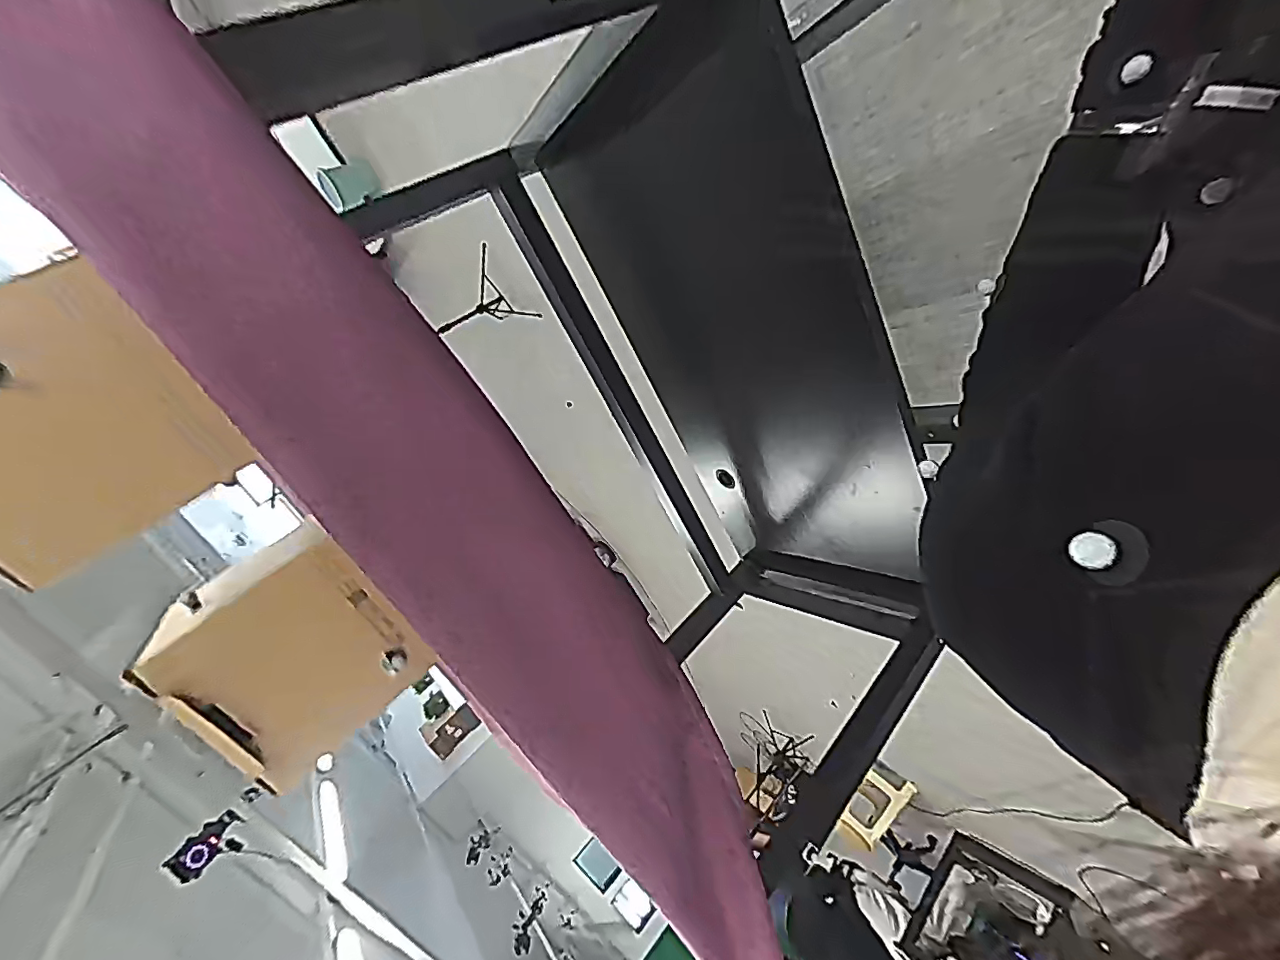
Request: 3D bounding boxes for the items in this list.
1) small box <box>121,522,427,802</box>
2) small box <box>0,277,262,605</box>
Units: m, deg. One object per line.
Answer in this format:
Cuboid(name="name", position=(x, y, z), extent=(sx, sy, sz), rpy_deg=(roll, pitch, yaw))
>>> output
Cuboid(name="small box", position=(-0.340, 0.159, 0.535), extent=(0.179, 0.176, 0.168), rpy_deg=(8, 132, 56))
Cuboid(name="small box", position=(-0.442, -0.041, 0.424), extent=(0.168, 0.176, 0.179), rpy_deg=(13, 137, 53))
